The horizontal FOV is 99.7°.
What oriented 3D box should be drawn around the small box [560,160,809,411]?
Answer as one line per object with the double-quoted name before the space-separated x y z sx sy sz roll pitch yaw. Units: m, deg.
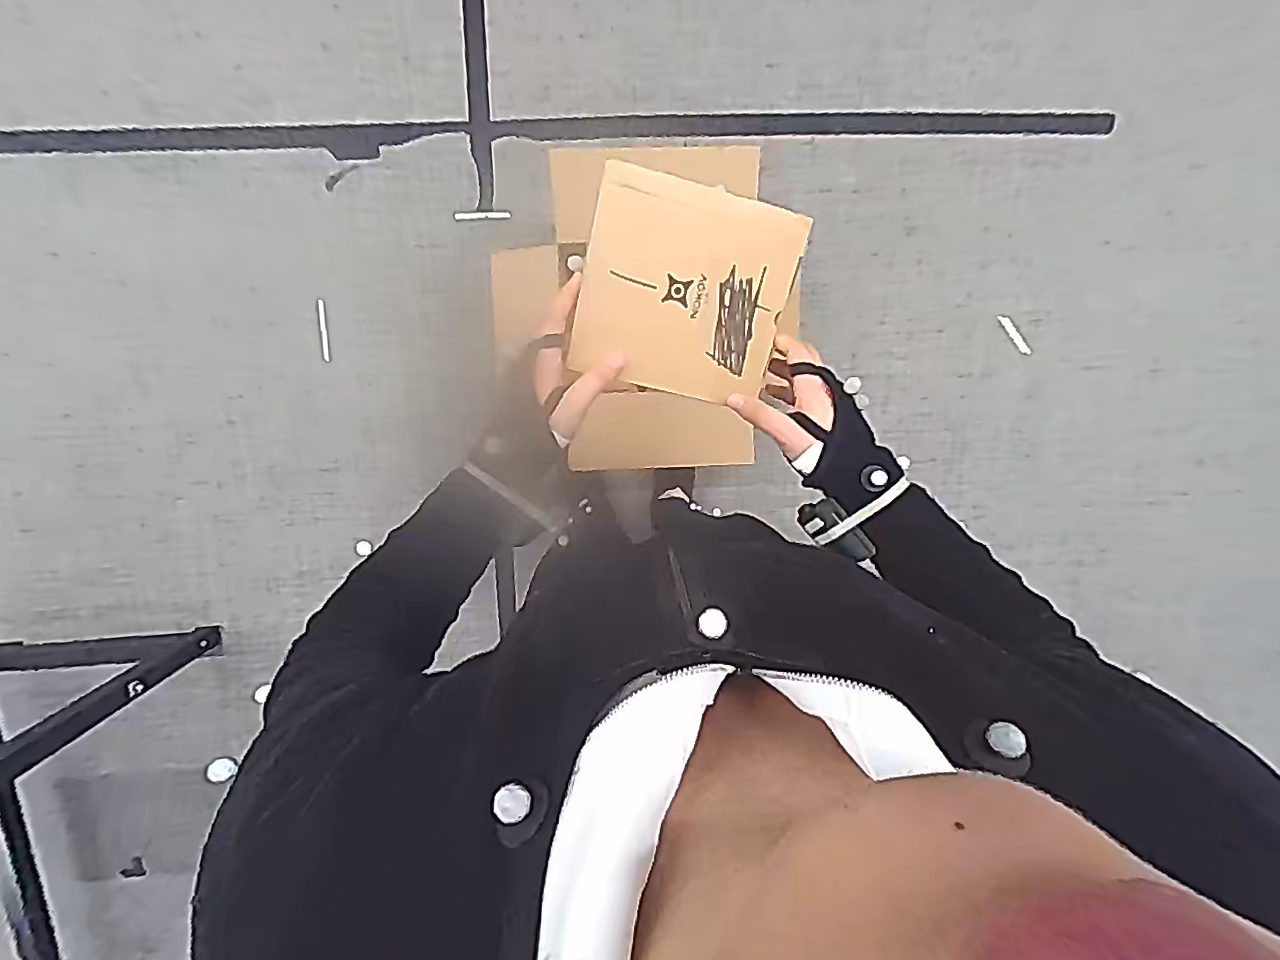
"small box" 0.029 -0.179 0.522 0.179 0.176 0.168 12 107 -8
